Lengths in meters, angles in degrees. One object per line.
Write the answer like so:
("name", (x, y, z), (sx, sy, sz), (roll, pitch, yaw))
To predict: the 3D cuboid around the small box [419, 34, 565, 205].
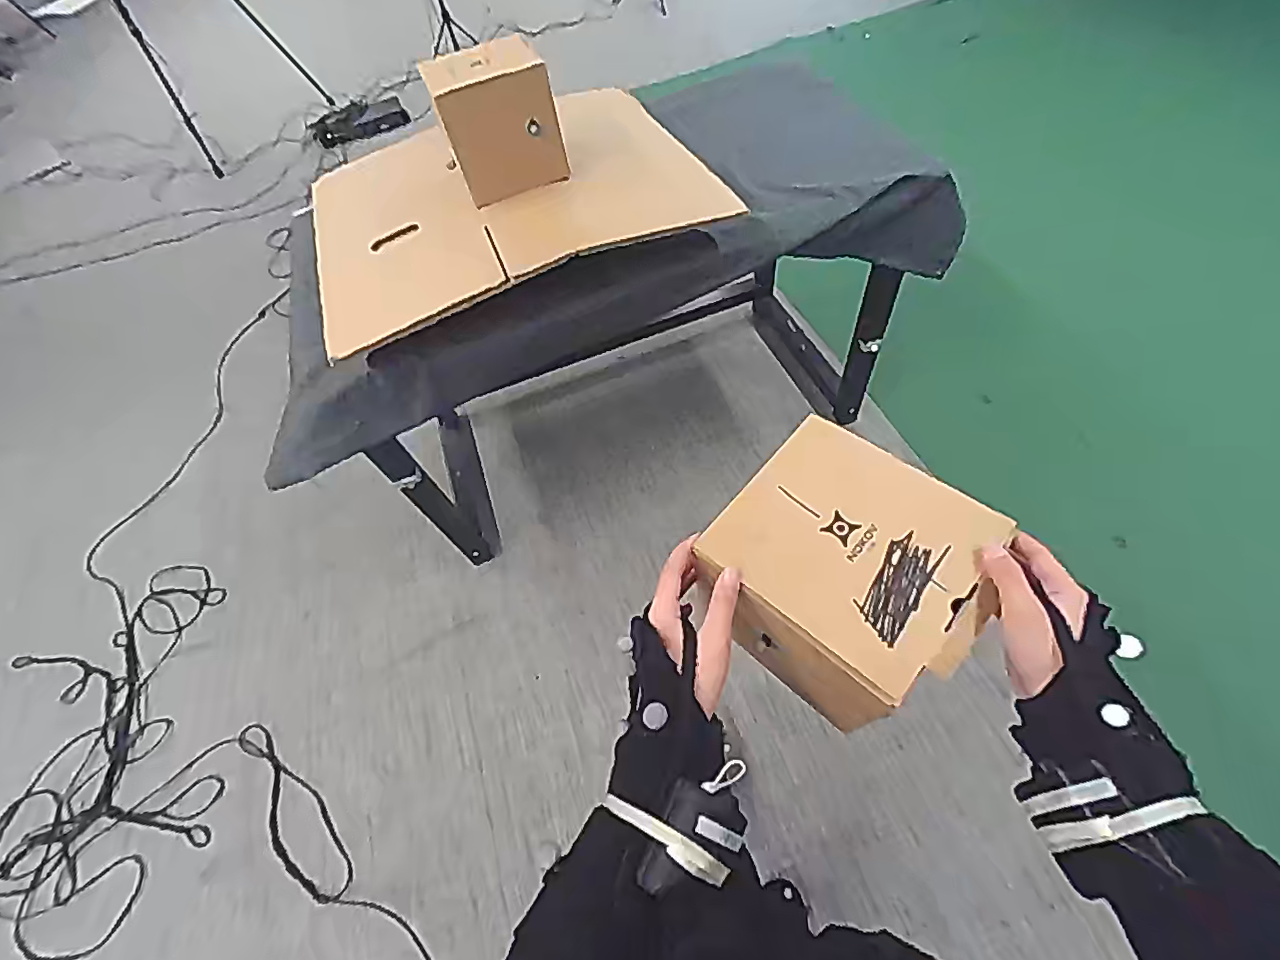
("small box", (-0.235, -0.593, 0.896), (0.179, 0.176, 0.168), (-23, 55, -6))
